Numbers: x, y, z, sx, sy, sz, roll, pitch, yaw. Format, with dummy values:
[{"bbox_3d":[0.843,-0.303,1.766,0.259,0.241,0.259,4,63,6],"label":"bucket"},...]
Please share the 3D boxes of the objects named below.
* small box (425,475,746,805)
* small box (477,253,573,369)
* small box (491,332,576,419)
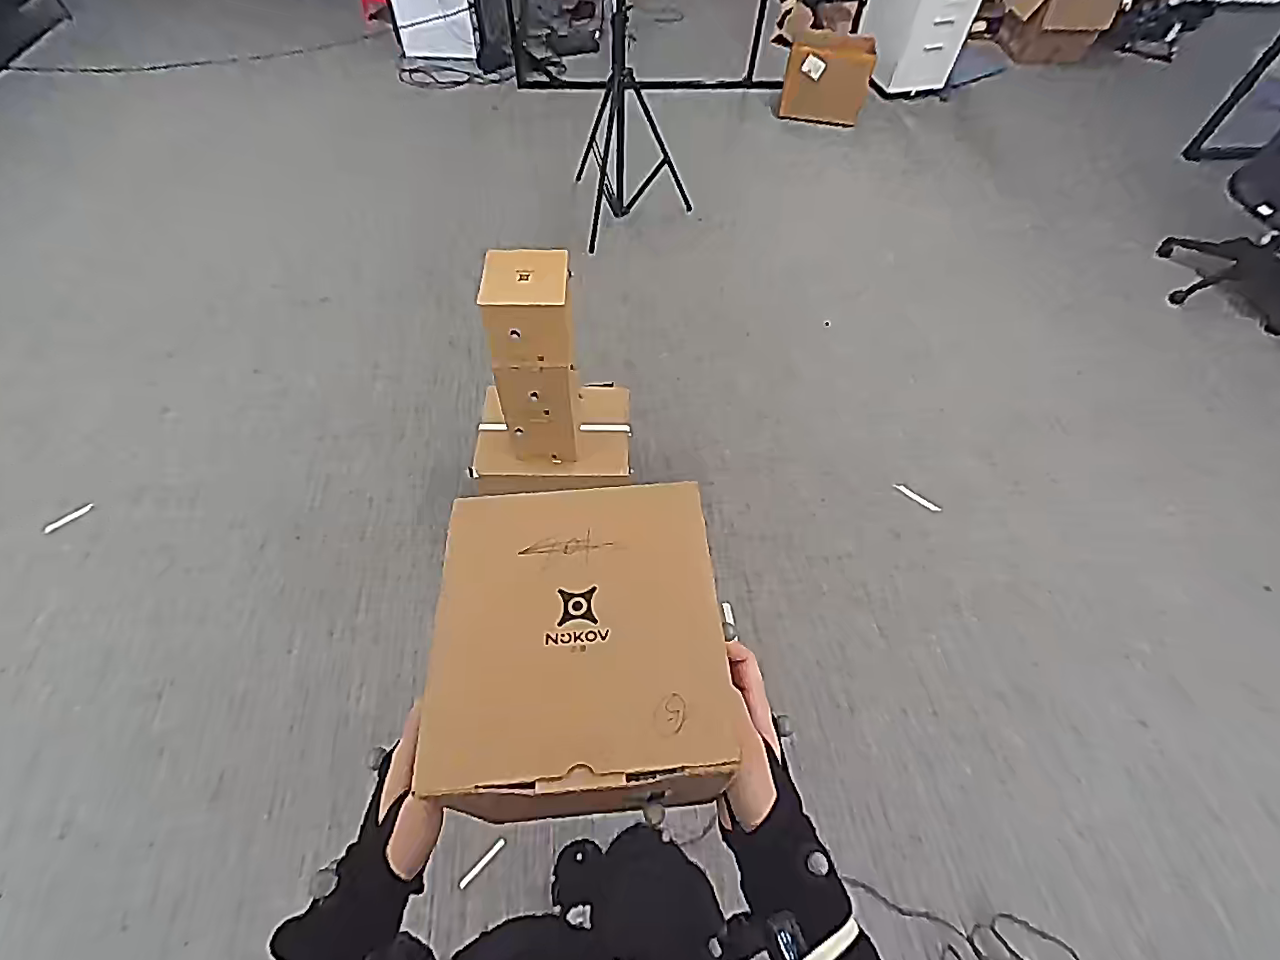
[{"bbox_3d":[-0.032,0.119,0.380,0.168,0.176,0.179,-4,53,-3],"label":"small box"},{"bbox_3d":[-0.228,-0.344,1.118,0.168,0.176,0.179,-1,56,-4],"label":"small box"},{"bbox_3d":[-0.238,-0.256,1.255,0.168,0.176,0.179,1,57,-3],"label":"small box"}]
